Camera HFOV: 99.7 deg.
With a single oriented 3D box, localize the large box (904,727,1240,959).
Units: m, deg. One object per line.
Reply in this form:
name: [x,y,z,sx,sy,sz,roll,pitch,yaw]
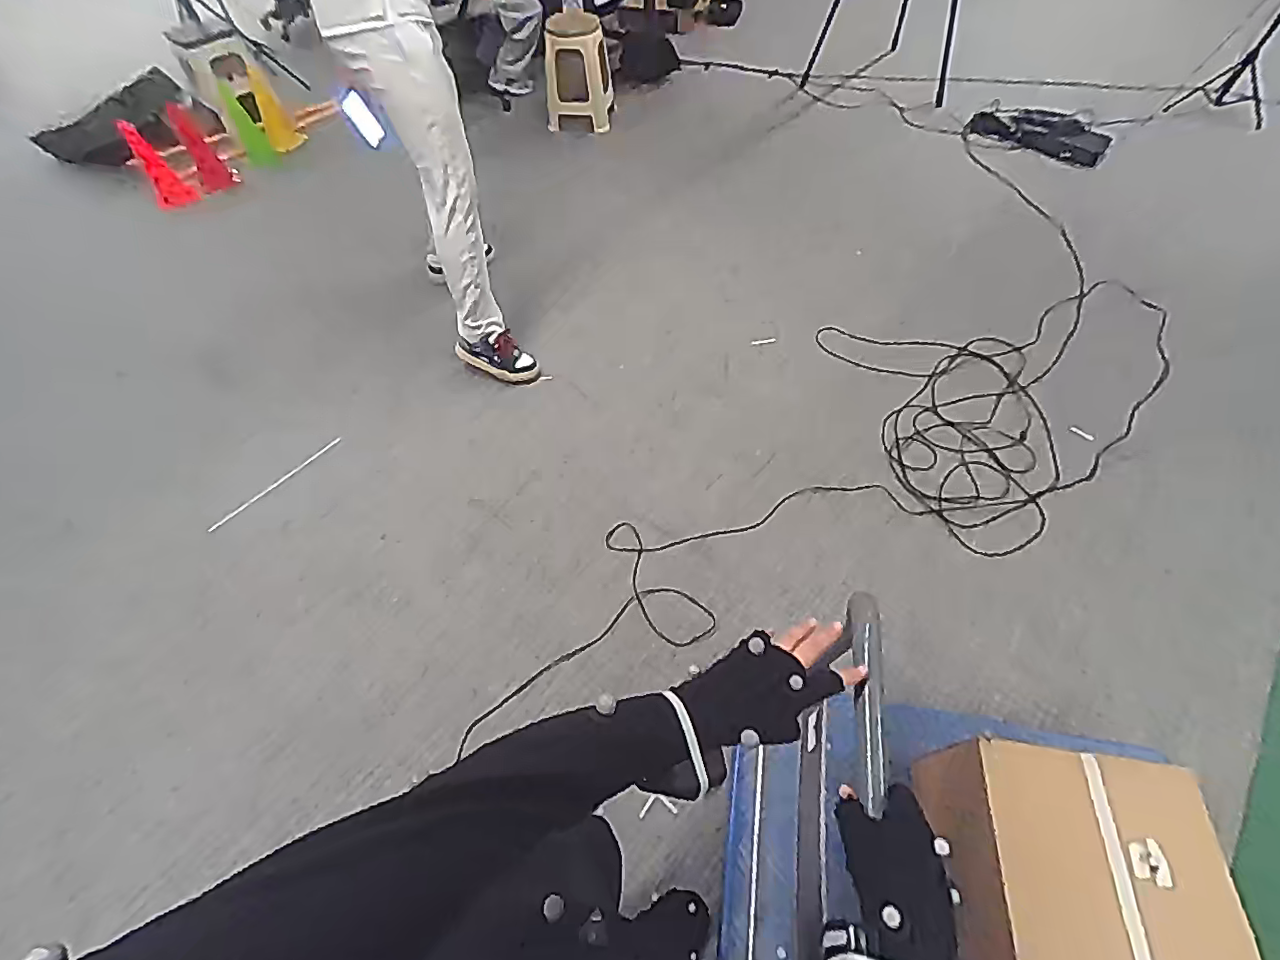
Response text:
large box: [0.662,0.669,0.885,0.320,0.320,0.408,6,56,7]
